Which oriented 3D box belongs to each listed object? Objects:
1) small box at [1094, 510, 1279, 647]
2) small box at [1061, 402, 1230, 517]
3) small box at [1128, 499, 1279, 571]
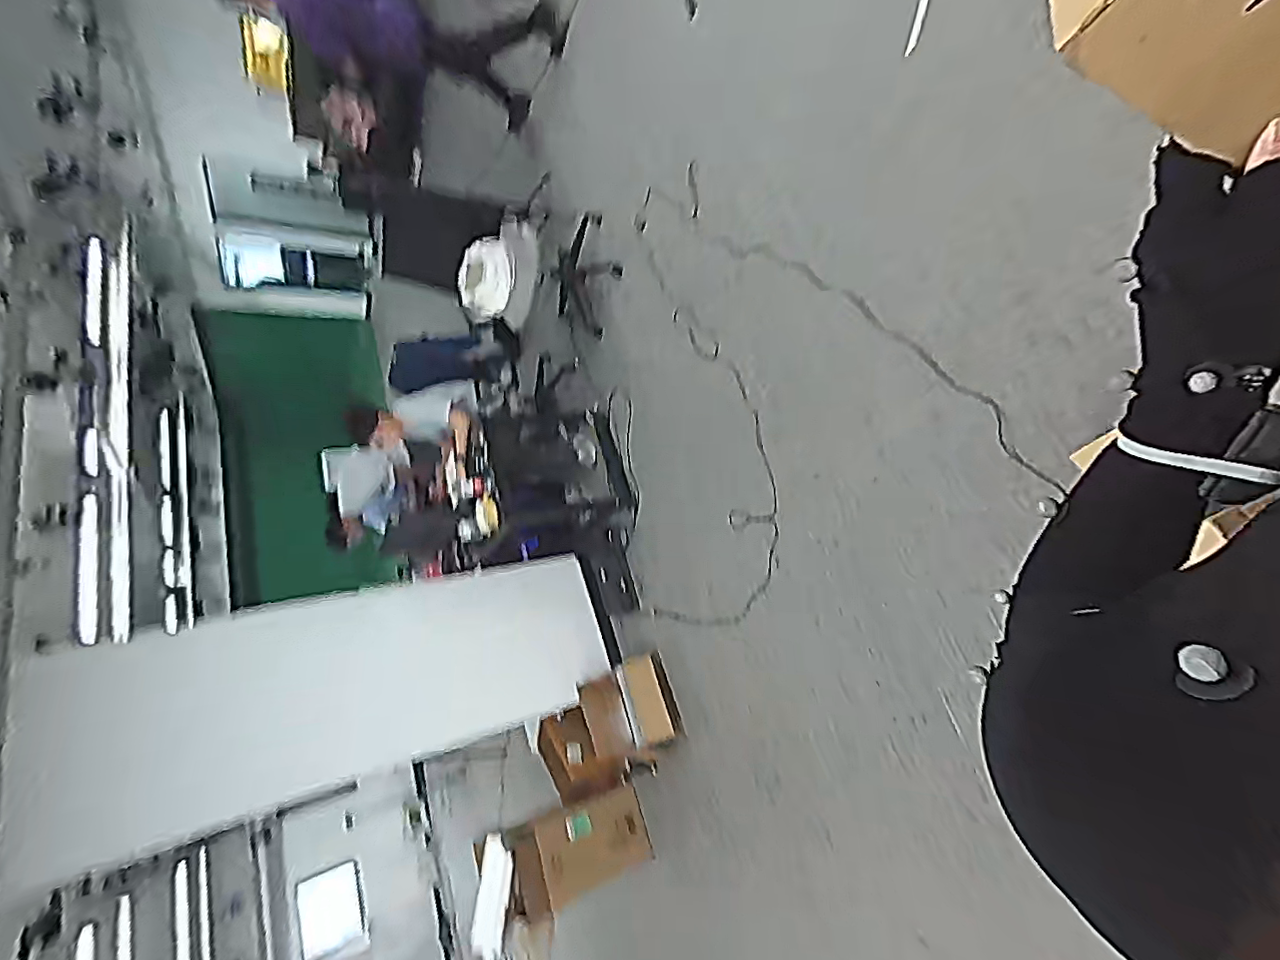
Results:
[{"bbox_3d":[0.964,0.167,0.946,0.179,0.176,0.168,-53,53,45],"label":"small box"},{"bbox_3d":[1.031,-0.042,1.105,0.179,0.176,0.168,-52,53,45],"label":"small box"},{"bbox_3d":[1.103,0.150,1.033,0.179,0.176,0.168,-49,56,48],"label":"small box"}]
